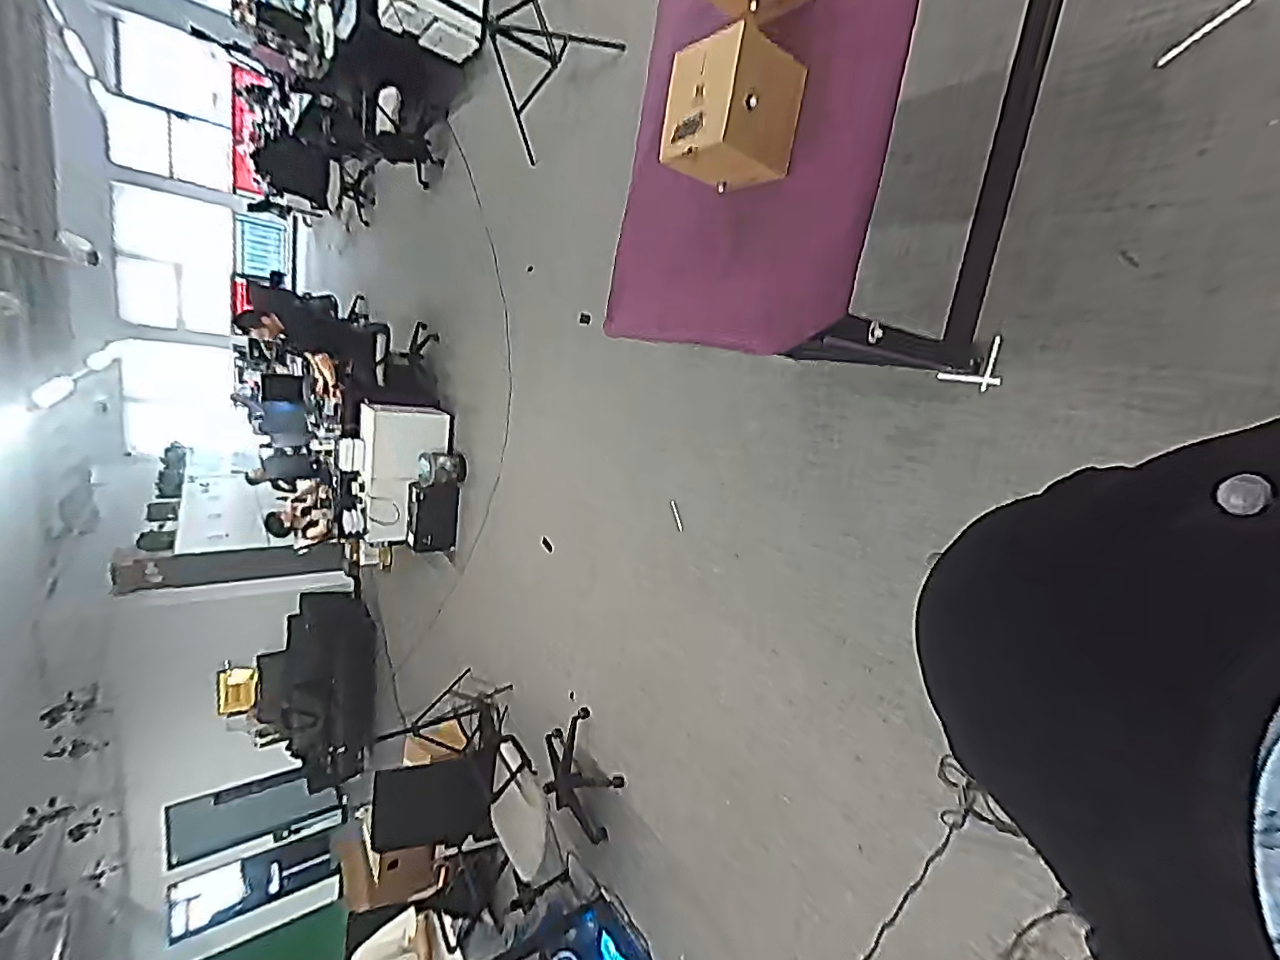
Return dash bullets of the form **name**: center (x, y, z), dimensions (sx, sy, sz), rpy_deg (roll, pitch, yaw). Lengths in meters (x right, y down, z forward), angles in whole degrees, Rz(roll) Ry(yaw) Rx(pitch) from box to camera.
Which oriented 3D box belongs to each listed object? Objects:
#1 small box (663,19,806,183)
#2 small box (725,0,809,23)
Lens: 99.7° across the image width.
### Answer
- **small box**: center (0.167, -0.645, 0.953), dimensions (0.168, 0.176, 0.179), rpy_deg (24, 109, 49)
- **small box**: center (0.207, -0.922, 0.898), dimensions (0.168, 0.176, 0.179), rpy_deg (25, 111, 49)
